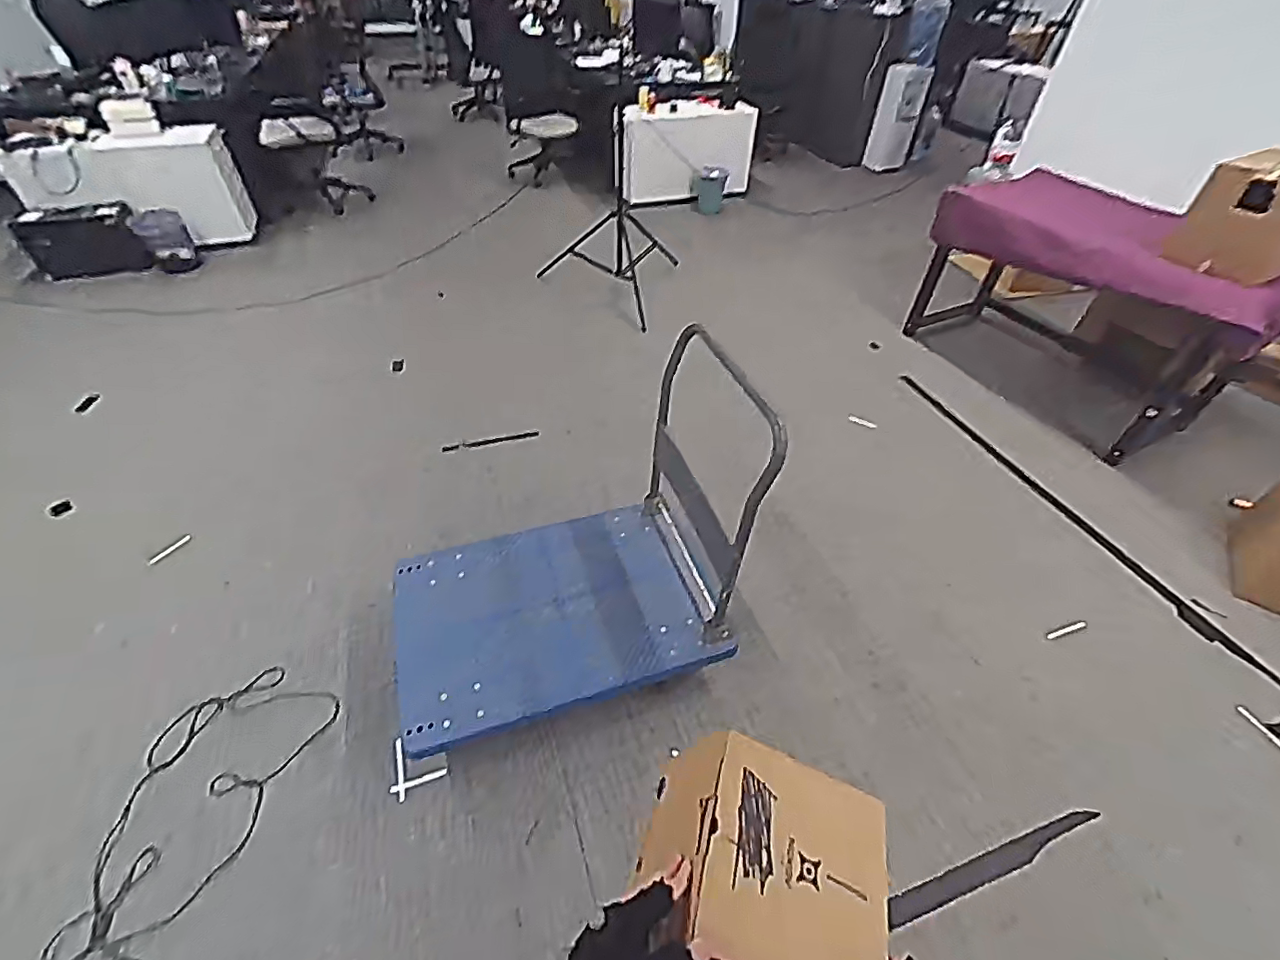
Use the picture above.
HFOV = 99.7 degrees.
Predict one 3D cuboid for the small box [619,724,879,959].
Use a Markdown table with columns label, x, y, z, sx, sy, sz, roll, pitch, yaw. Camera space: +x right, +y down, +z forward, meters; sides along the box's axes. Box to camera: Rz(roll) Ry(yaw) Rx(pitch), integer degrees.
| label | x | y | z | sx | sy | sz | roll | pitch | yaw |
| --- | --- | --- | --- | --- | --- | --- | --- | --- | --- |
| small box | 0.100 | 0.370 | 0.519 | 0.179 | 0.176 | 0.168 | 27 | 46 | -4 |
